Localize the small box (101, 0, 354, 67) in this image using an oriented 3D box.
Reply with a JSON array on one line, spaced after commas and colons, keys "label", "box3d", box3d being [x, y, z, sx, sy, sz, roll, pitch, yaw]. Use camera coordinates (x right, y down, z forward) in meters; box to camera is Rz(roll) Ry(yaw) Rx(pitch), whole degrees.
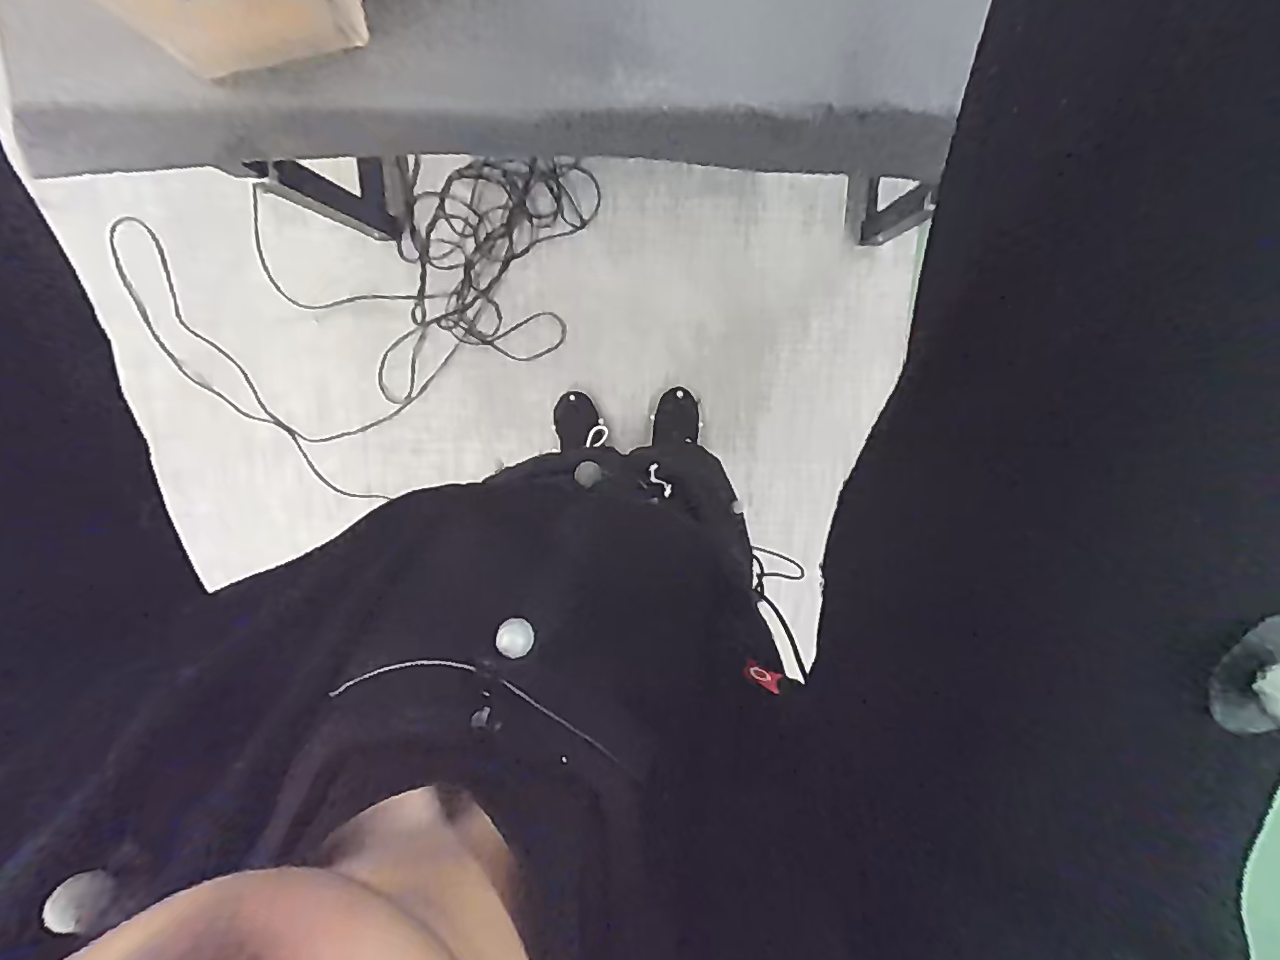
[{"label": "small box", "box3d": [-0.366, -0.485, 0.444, 0.179, 0.176, 0.168, -9, 101, 3]}]
